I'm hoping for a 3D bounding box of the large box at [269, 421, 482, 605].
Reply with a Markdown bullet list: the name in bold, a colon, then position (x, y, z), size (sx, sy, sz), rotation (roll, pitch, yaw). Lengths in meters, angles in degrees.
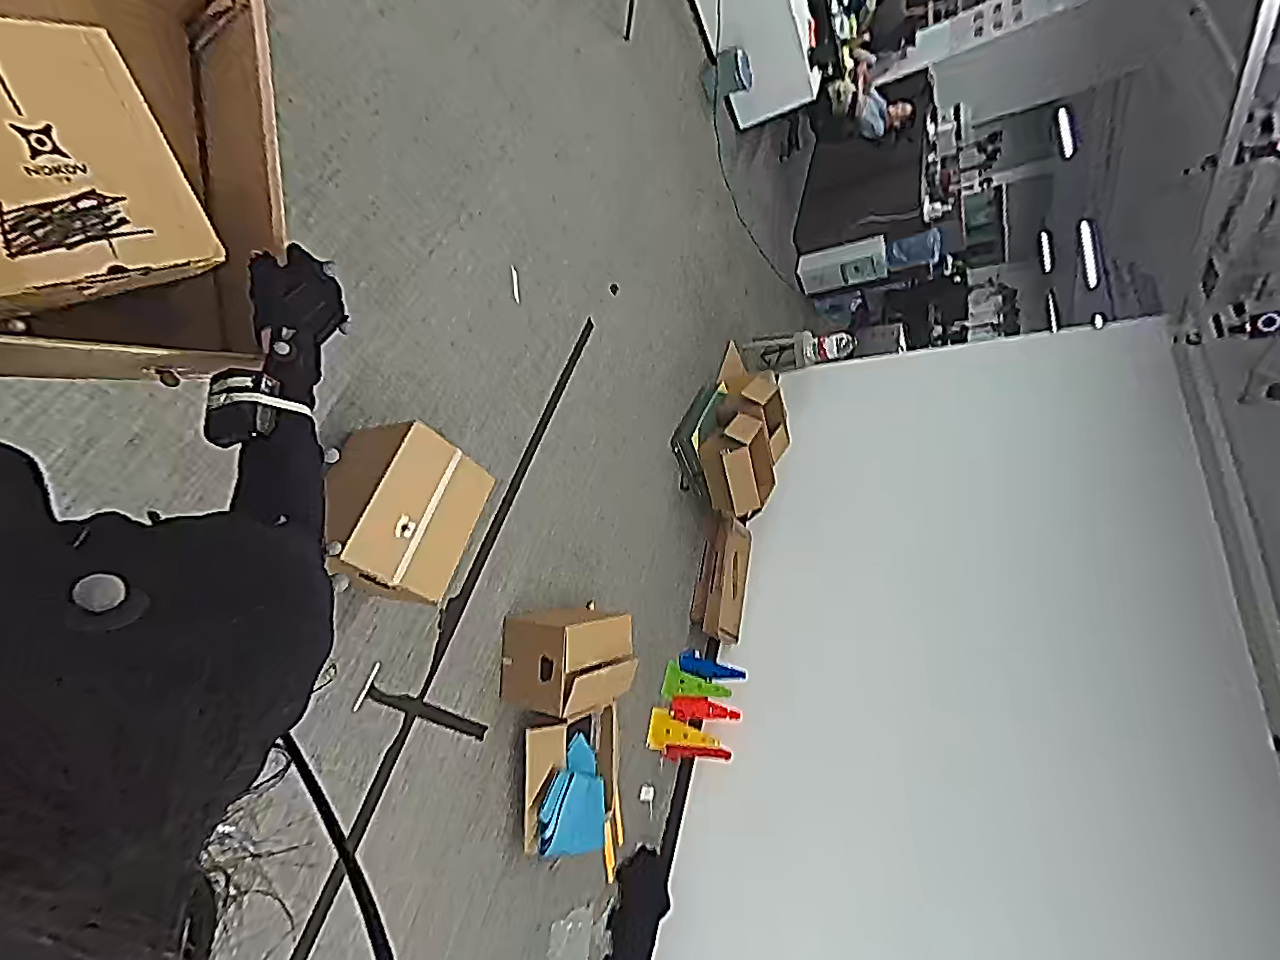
- **large box**: position (-0.717, 0.092, 1.505), size (0.320, 0.320, 0.408), rotation (47, 51, -45)
